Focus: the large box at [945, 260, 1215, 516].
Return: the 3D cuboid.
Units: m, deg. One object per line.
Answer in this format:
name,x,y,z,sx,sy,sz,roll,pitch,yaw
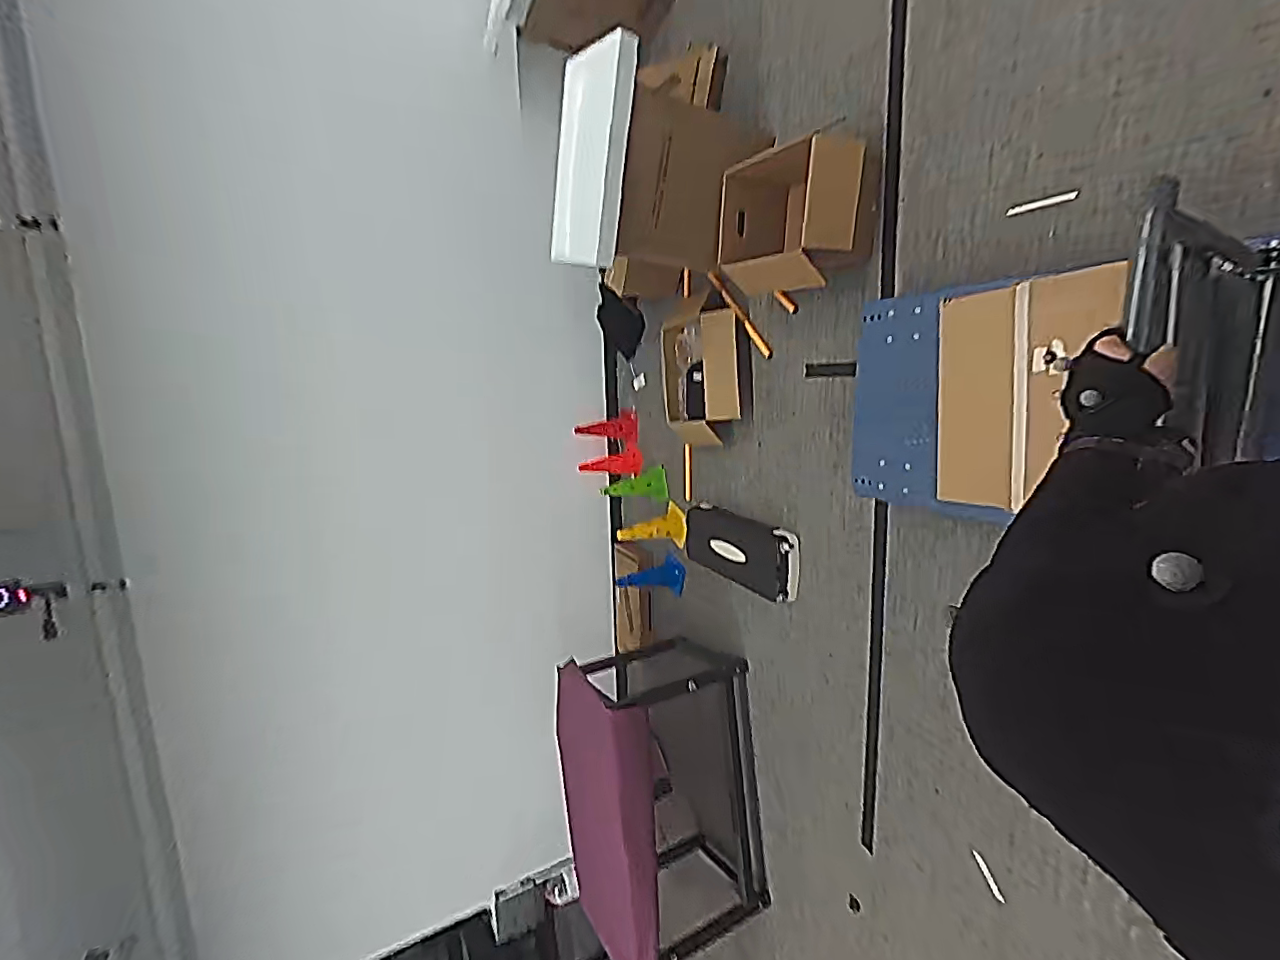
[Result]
large box,0.825,-0.157,1.032,0.320,0.320,0.408,7,101,60
